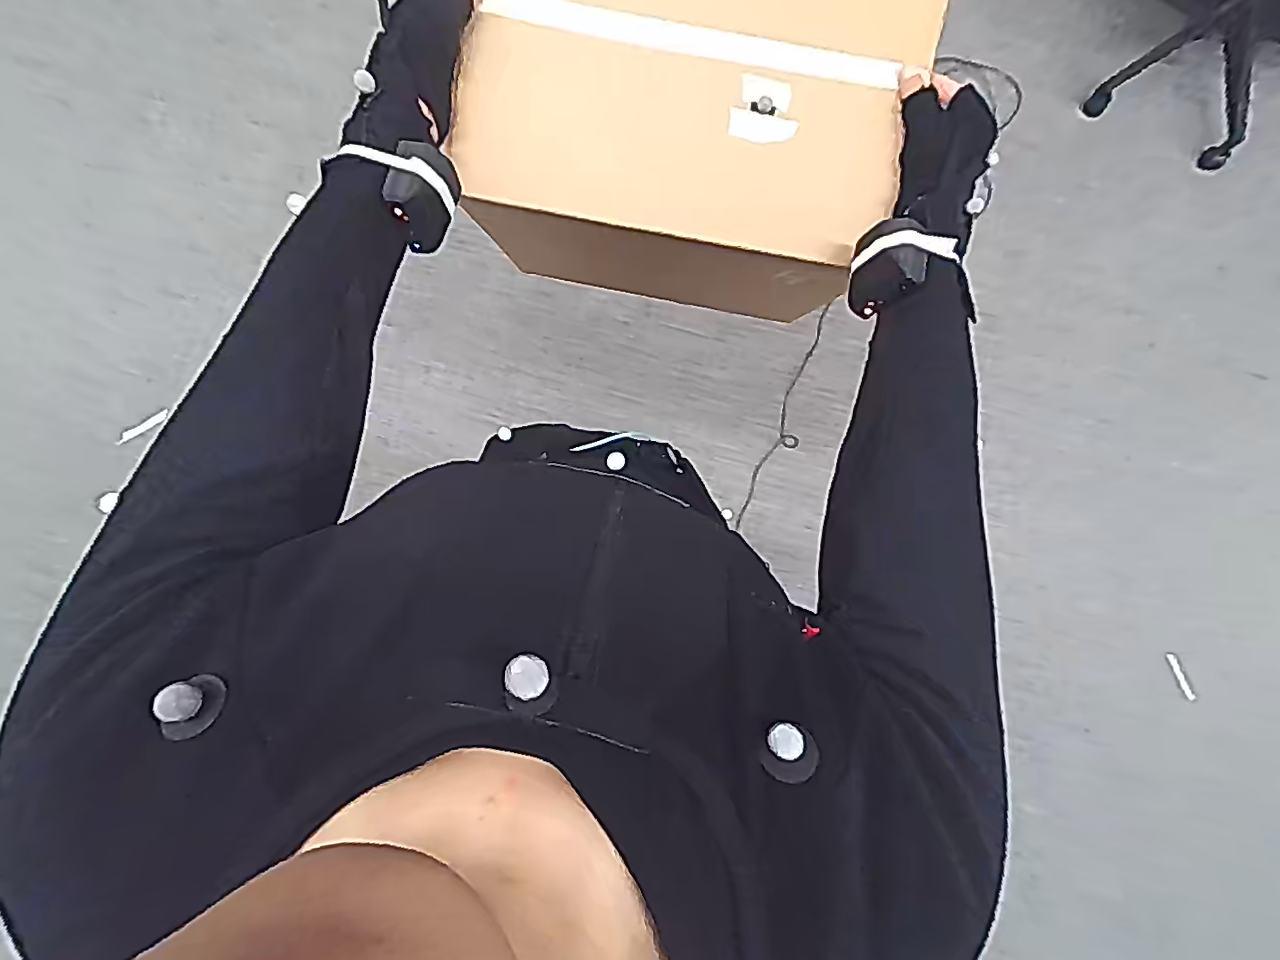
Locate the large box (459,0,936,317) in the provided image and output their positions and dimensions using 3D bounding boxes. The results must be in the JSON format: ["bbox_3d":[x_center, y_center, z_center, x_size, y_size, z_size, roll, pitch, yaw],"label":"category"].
[{"bbox_3d":[0.049,-0.398,0.625,0.408,0.320,0.320,10,98,-2],"label":"large box"}]
